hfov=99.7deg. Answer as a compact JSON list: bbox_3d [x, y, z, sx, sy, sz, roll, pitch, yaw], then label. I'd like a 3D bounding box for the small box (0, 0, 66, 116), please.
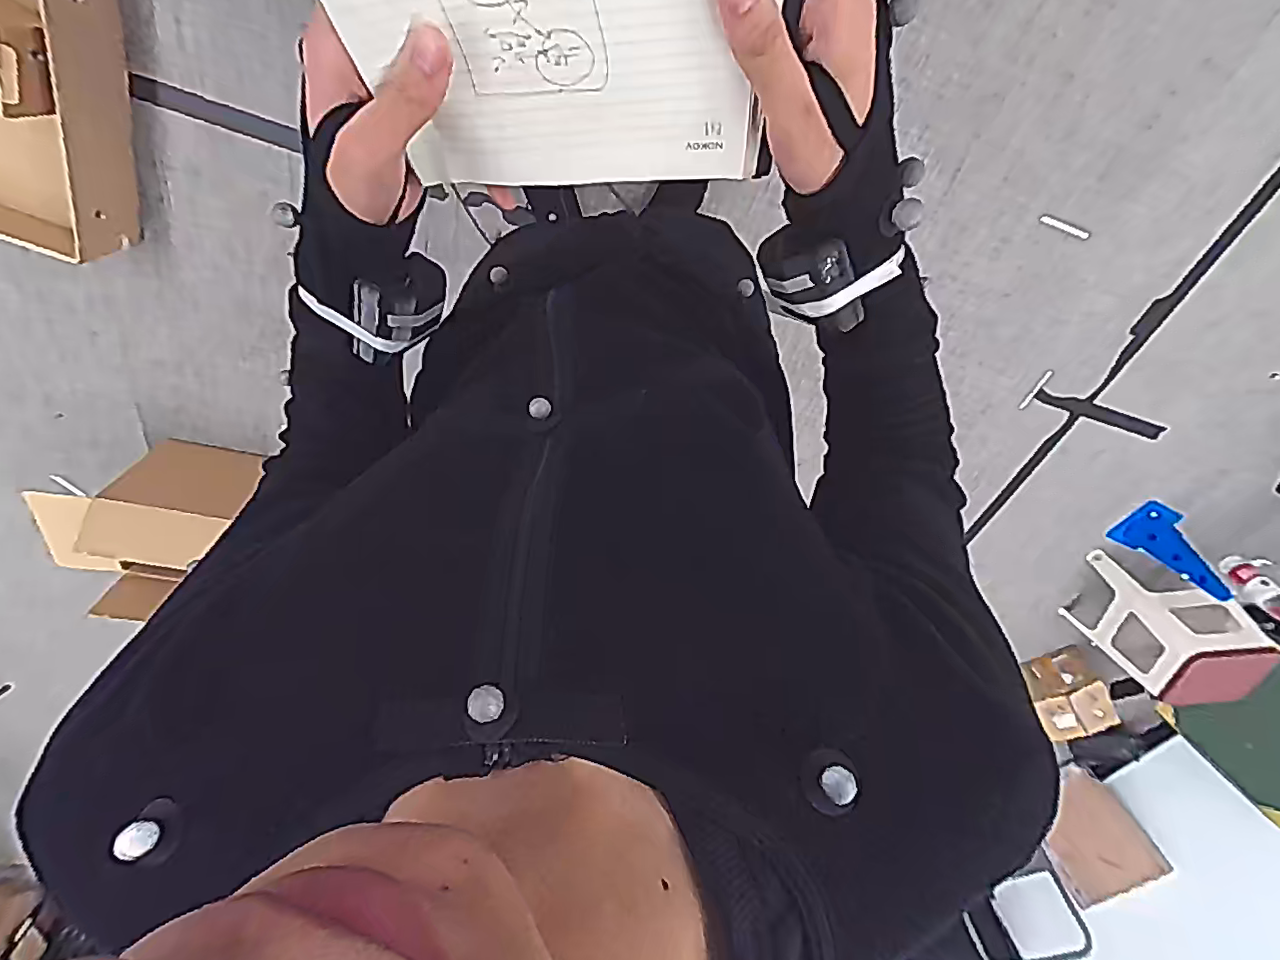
[{"bbox_3d":[-1.265,-0.840,1.036,0.179,0.176,0.168,25,122,-20],"label":"small box"}]
